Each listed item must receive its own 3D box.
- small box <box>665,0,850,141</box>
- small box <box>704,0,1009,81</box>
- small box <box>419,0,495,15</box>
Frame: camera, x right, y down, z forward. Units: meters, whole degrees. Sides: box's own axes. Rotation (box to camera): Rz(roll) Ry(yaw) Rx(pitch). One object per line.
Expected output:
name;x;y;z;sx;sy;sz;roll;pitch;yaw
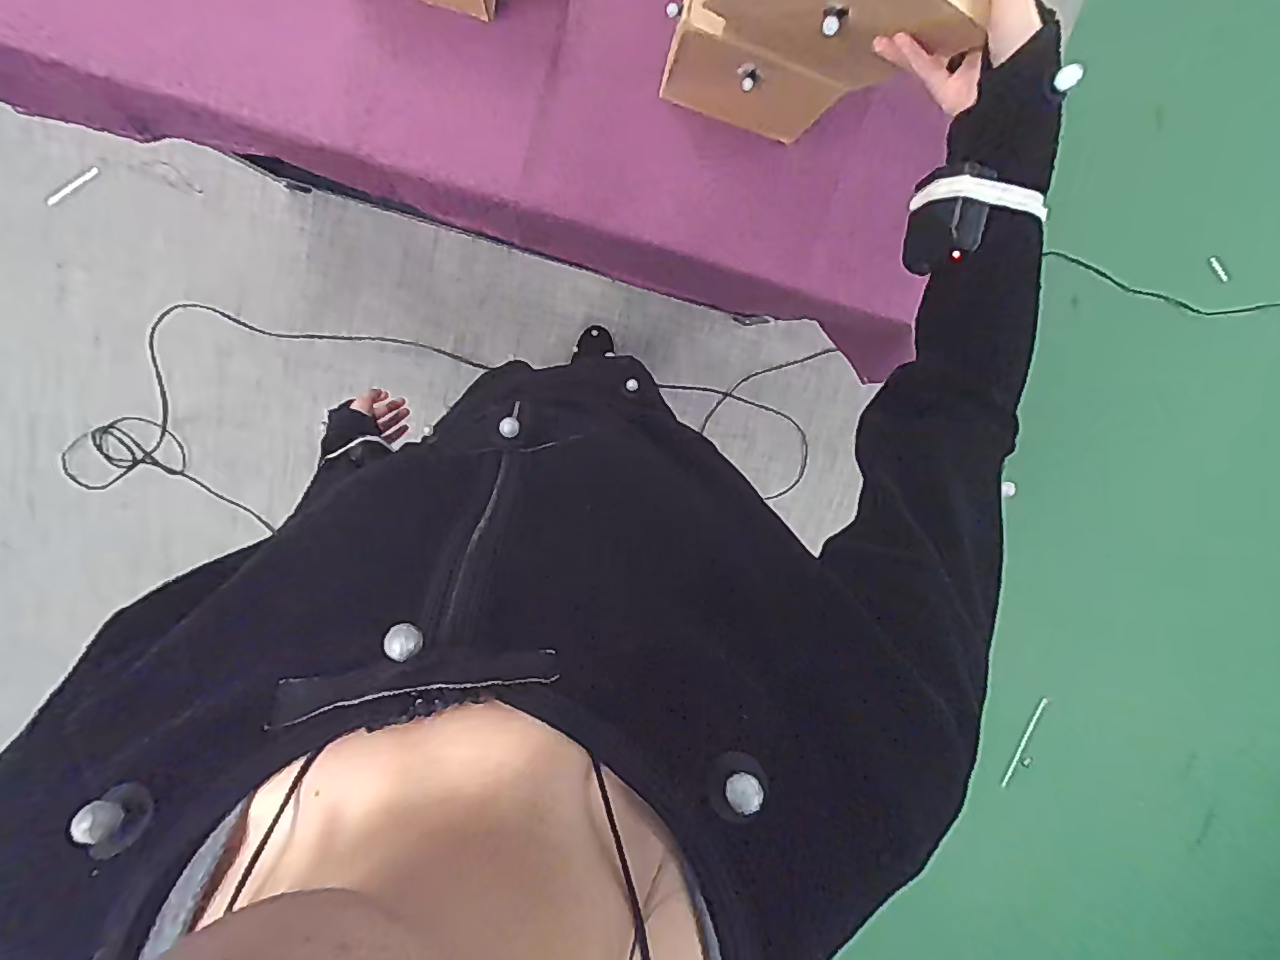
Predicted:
small box;0.136;-0.498;0.577;0.179;0.176;0.168;14;103;-10
small box;0.175;-0.433;0.402;0.179;0.176;0.168;10;110;-23
small box;-0.230;-0.600;0.516;0.179;0.176;0.168;10;103;-9
